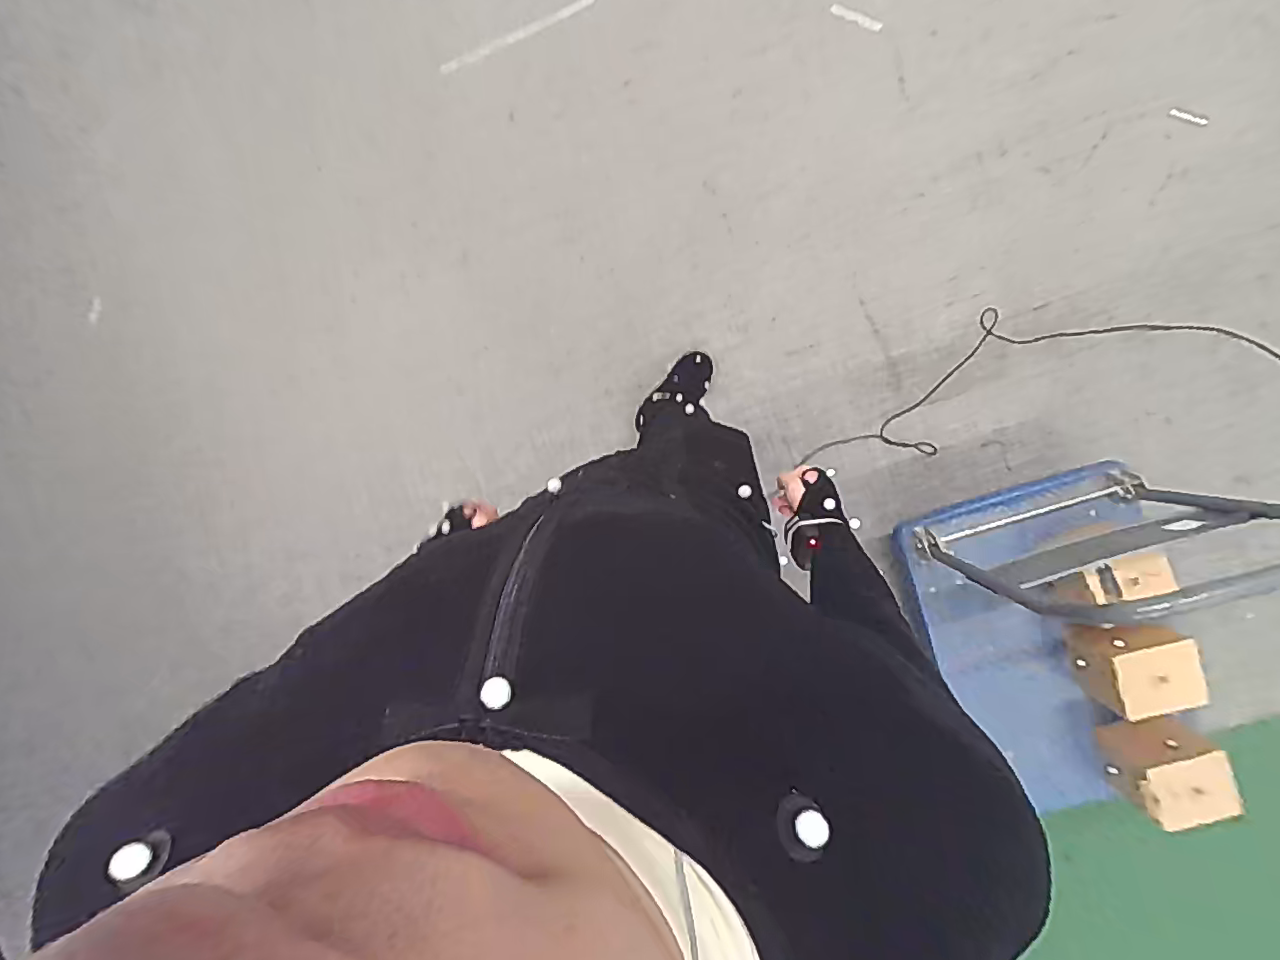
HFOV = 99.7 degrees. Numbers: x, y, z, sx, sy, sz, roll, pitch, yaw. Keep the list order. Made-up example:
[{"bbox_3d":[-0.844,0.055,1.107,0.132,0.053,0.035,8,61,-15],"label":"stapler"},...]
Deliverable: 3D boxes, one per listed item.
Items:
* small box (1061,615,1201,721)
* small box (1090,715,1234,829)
[{"bbox_3d":[1.187,0.449,1.318,0.179,0.176,0.168,-18,95,8],"label":"small box"},{"bbox_3d":[1.281,0.713,1.338,0.179,0.176,0.168,-19,94,7],"label":"small box"}]
